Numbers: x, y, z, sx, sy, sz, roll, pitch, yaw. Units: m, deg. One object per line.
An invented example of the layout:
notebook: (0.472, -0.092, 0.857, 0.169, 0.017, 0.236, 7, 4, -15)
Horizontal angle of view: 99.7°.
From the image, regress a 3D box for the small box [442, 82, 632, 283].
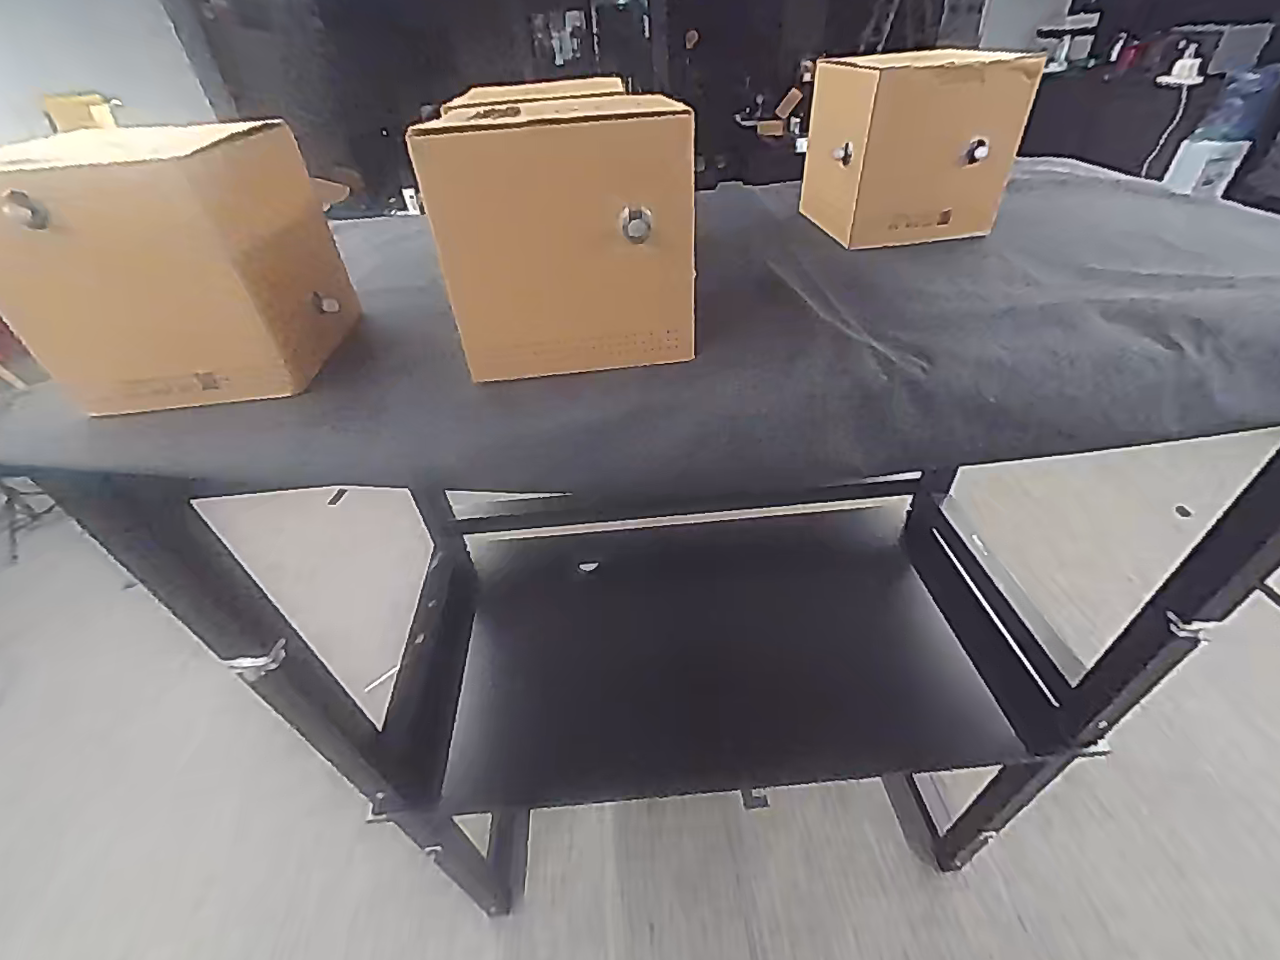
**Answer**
small box: (-0.100, -0.341, 0.623, 0.179, 0.176, 0.168, -5, 40, 0)

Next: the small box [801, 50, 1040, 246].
small box: (0.299, -0.379, 0.625, 0.168, 0.176, 0.179, -6, 40, -2)

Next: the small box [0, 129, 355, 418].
small box: (-0.360, -0.170, 0.436, 0.168, 0.176, 0.179, -7, 39, -2)
